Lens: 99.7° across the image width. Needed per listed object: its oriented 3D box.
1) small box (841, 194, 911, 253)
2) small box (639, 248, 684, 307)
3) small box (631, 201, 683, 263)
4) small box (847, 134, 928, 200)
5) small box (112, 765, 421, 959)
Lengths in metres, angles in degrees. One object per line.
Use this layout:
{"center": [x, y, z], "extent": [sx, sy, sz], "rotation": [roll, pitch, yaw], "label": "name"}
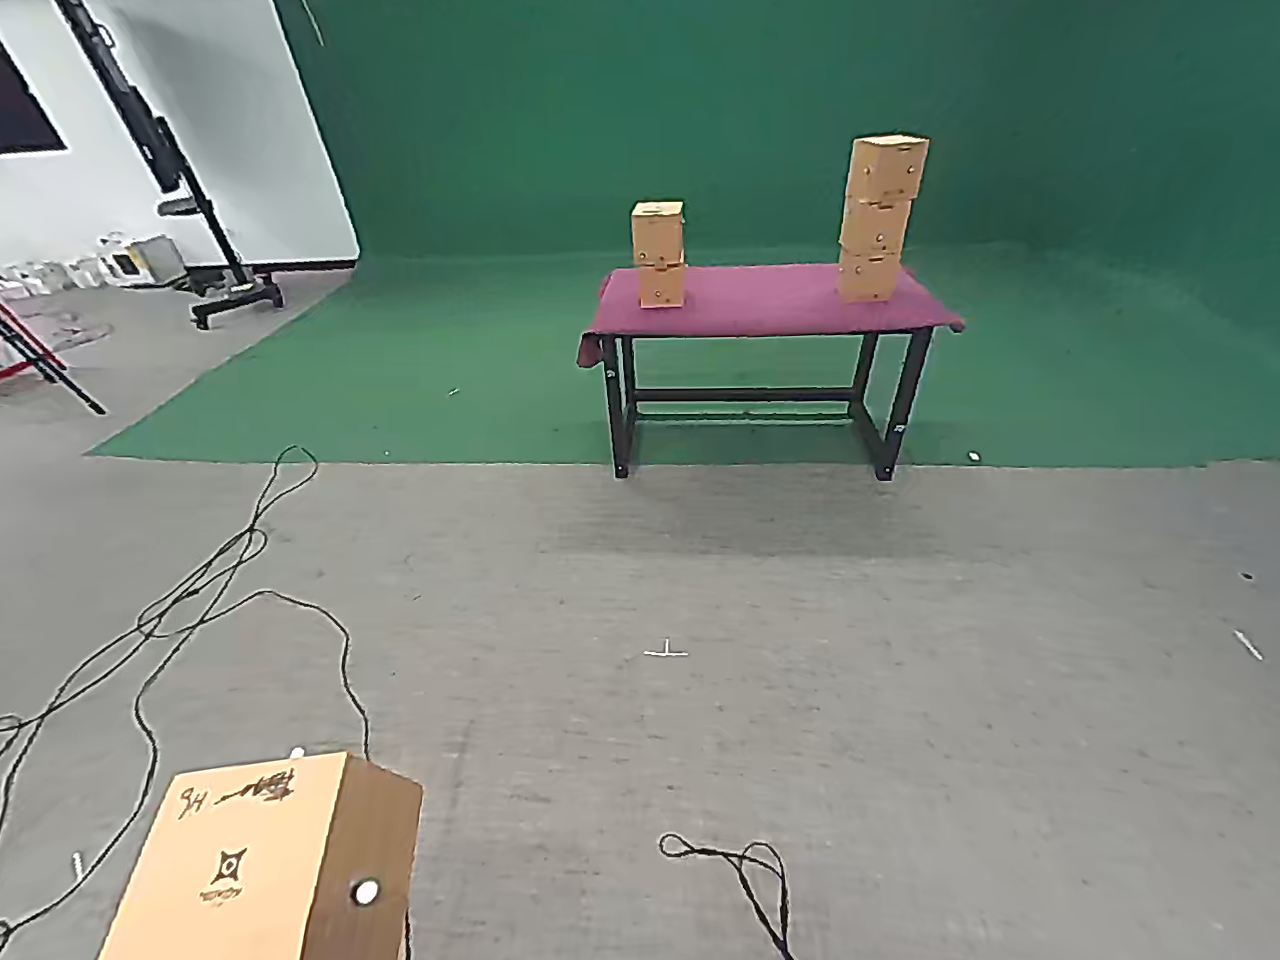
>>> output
{"center": [0.813, -0.900, 1.885], "extent": [0.168, 0.176, 0.179], "rotation": [-2, 38, 4], "label": "small box"}
{"center": [0.084, -0.772, 2.060], "extent": [0.168, 0.176, 0.179], "rotation": [0, 40, 4], "label": "small box"}
{"center": [0.066, -0.890, 1.945], "extent": [0.168, 0.176, 0.179], "rotation": [3, 39, 7], "label": "small box"}
{"center": [0.810, -1.028, 1.785], "extent": [0.168, 0.176, 0.179], "rotation": [-8, 38, -6], "label": "small box"}
{"center": [-0.326, 0.384, 0.506], "extent": [0.168, 0.176, 0.179], "rotation": [-7, 52, 2], "label": "small box"}
